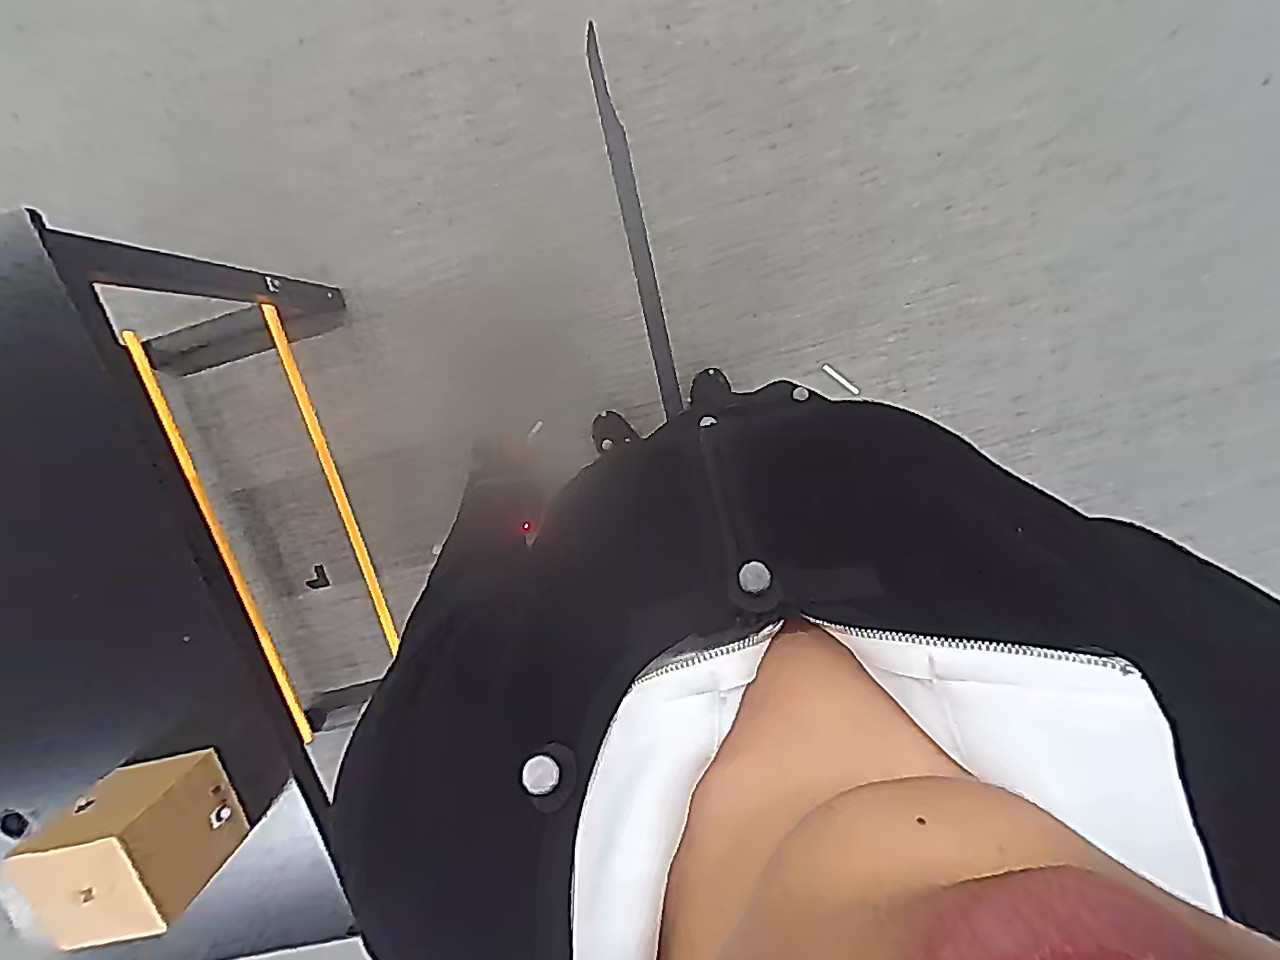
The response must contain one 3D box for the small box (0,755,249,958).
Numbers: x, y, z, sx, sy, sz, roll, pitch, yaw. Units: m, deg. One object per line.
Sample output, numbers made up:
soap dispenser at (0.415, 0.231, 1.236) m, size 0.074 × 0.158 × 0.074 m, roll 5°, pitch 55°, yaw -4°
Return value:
small box at (-0.743, 0.546, 0.802) m, size 0.179 × 0.176 × 0.168 m, roll -14°, pitch 103°, yaw 4°
